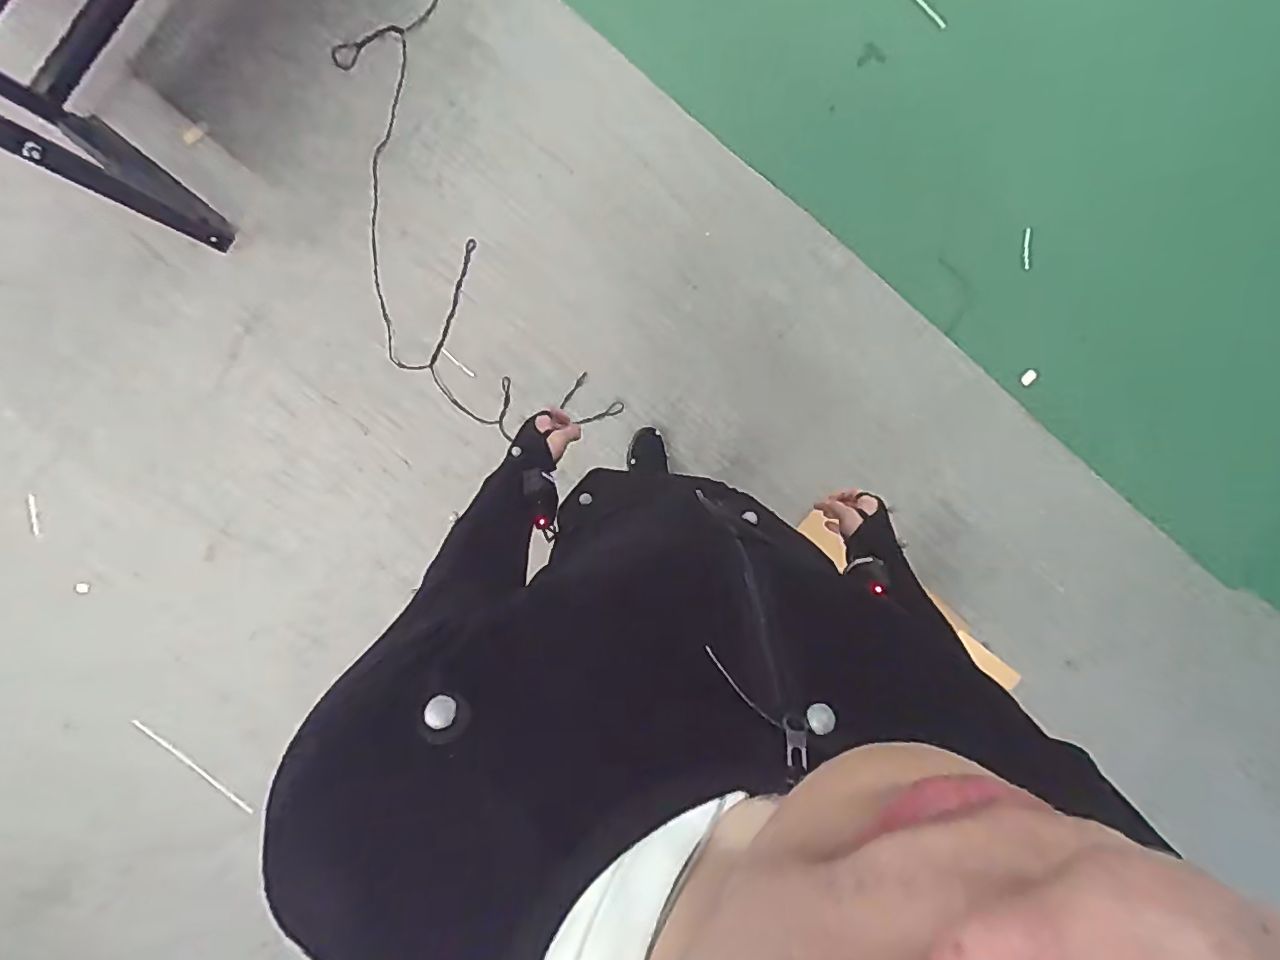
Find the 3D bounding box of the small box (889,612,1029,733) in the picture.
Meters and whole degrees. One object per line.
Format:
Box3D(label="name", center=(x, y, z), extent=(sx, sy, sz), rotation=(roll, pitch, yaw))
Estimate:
Box3D(label="small box", center=(0.703, 0.419, 1.217), extent=(0.179, 0.176, 0.168), rotation=(38, 93, -2))
